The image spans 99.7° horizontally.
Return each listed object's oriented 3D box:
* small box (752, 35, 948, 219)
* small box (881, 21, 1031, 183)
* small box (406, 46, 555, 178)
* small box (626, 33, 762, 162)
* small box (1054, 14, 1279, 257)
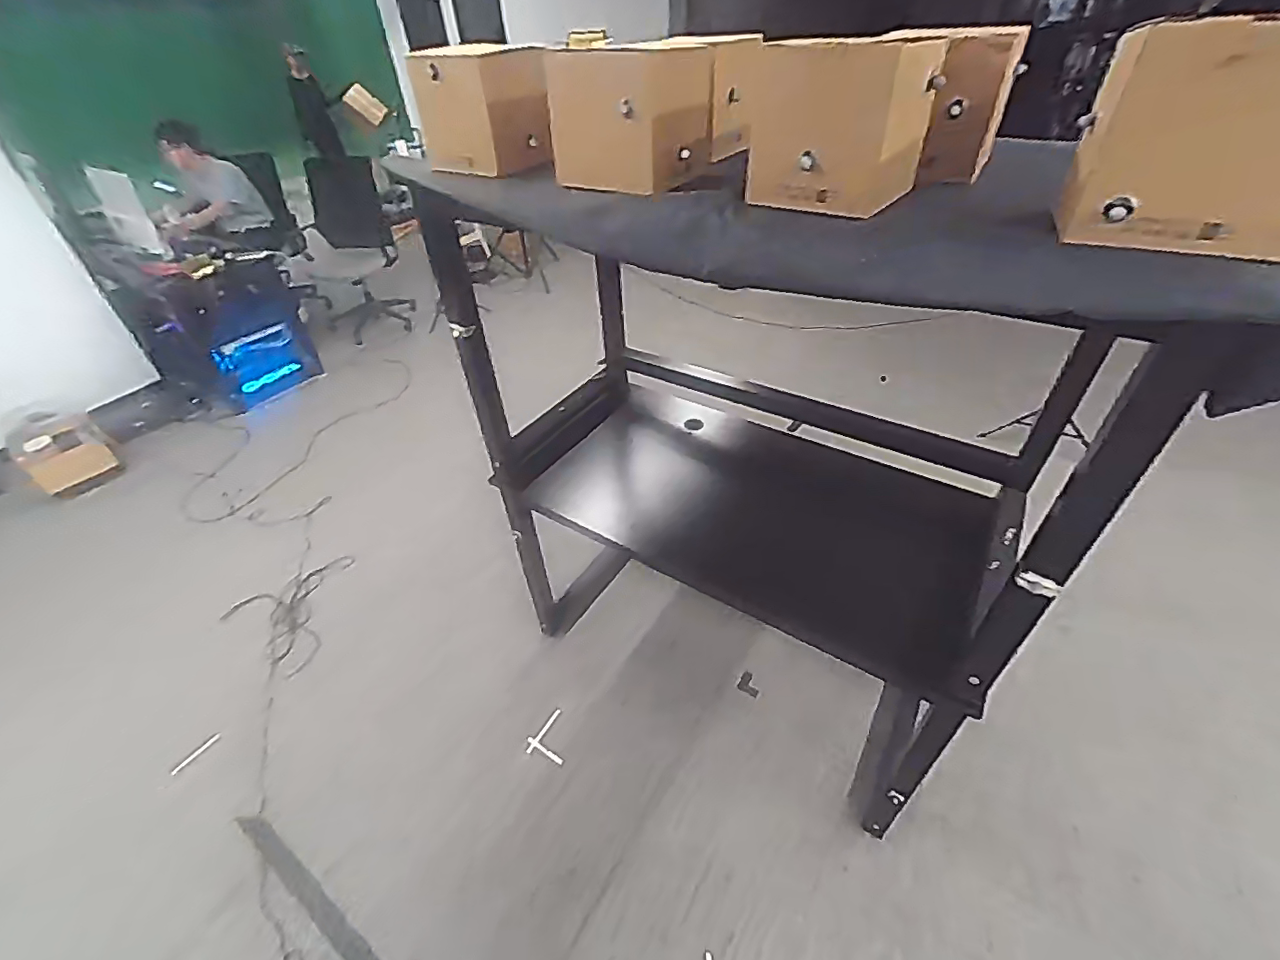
[{"bbox_3d":[0.252,-0.445,0.677,0.168,0.176,0.179,24,47,29],"label":"small box"},{"bbox_3d":[0.429,-0.544,0.781,0.168,0.176,0.179,21,47,24],"label":"small box"},{"bbox_3d":[-0.263,-0.642,0.939,0.168,0.176,0.179,20,46,24],"label":"small box"},{"bbox_3d":[0.097,-0.678,0.962,0.179,0.176,0.168,23,48,27],"label":"small box"},{"bbox_3d":[0.517,-0.317,0.502,0.168,0.176,0.179,18,40,23],"label":"small box"}]
